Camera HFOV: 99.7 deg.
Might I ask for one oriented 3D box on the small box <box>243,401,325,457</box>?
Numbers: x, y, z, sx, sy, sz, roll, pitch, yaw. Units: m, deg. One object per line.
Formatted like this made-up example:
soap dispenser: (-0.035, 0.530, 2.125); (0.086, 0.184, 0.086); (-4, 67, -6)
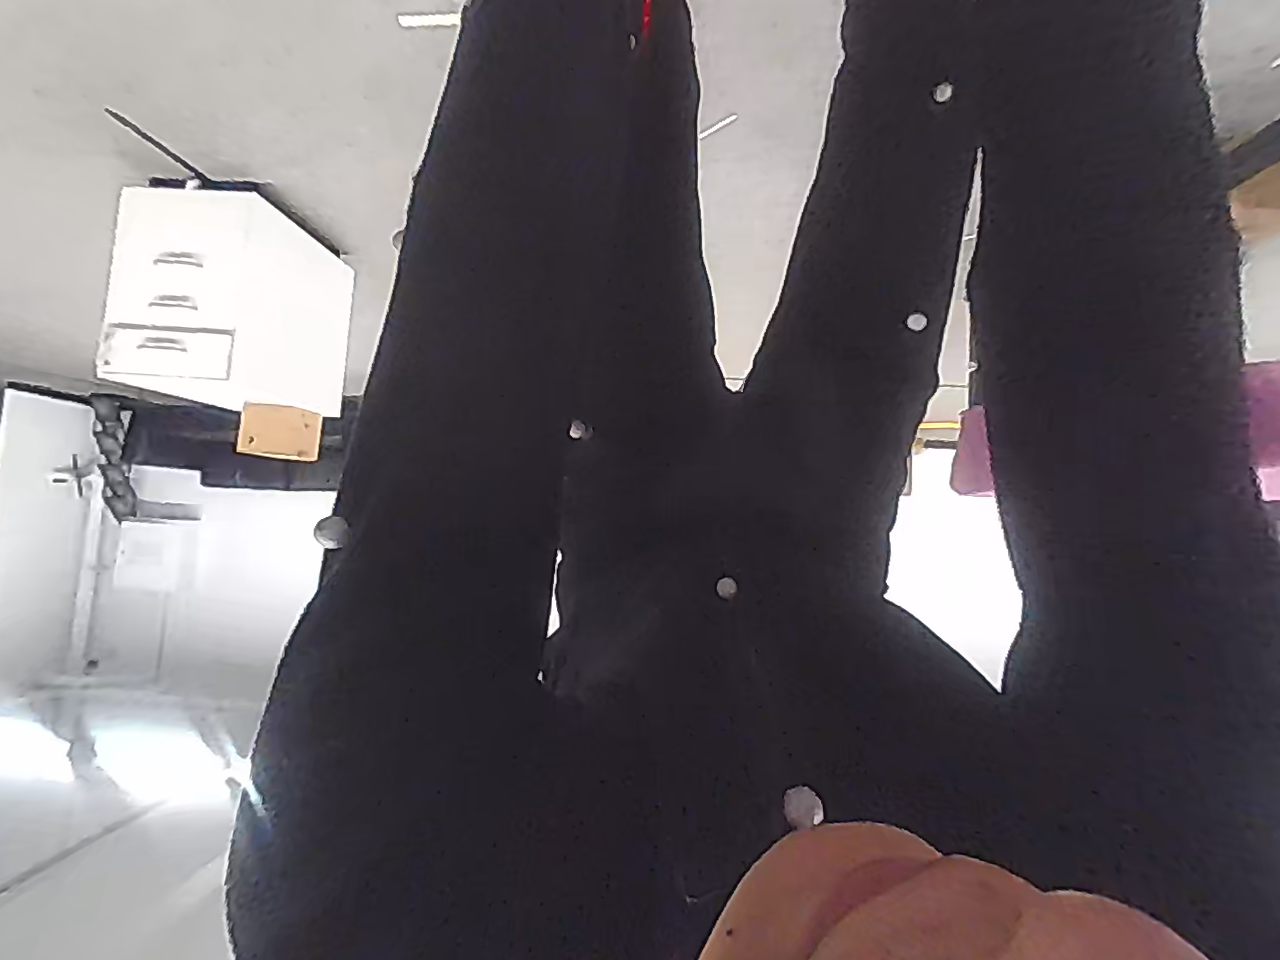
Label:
small box: (-1.243, -0.179, 1.902); (0.179, 0.176, 0.168); (4, 177, 4)
